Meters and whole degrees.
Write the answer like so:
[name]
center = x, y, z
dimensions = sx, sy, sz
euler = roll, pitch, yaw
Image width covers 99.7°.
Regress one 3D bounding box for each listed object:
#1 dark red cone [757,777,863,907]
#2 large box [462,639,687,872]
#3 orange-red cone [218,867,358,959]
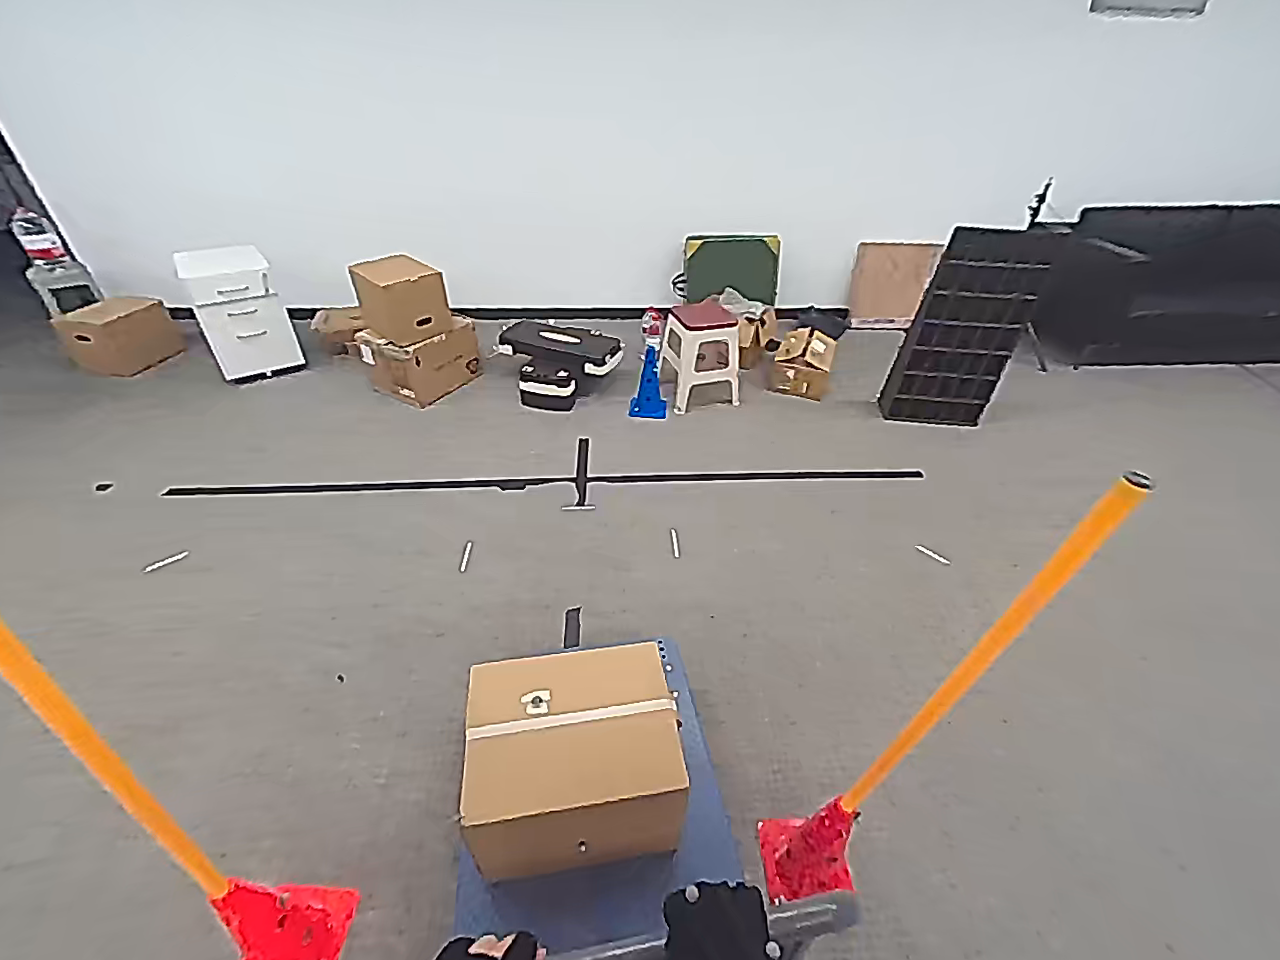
[dark red cone]
center = 0.401, 0.754, 1.170
dimensions = 0.201, 0.394, 0.202
euler = 1, 38, -5
[large box]
center = -0.136, 0.583, 1.157
dimensions = 0.408, 0.320, 0.320
euler = -5, 39, -8
[orange-red cone]
center = -0.724, 0.830, 1.046
dimensions = 0.198, 0.360, 0.199
euler = 5, 37, 2
